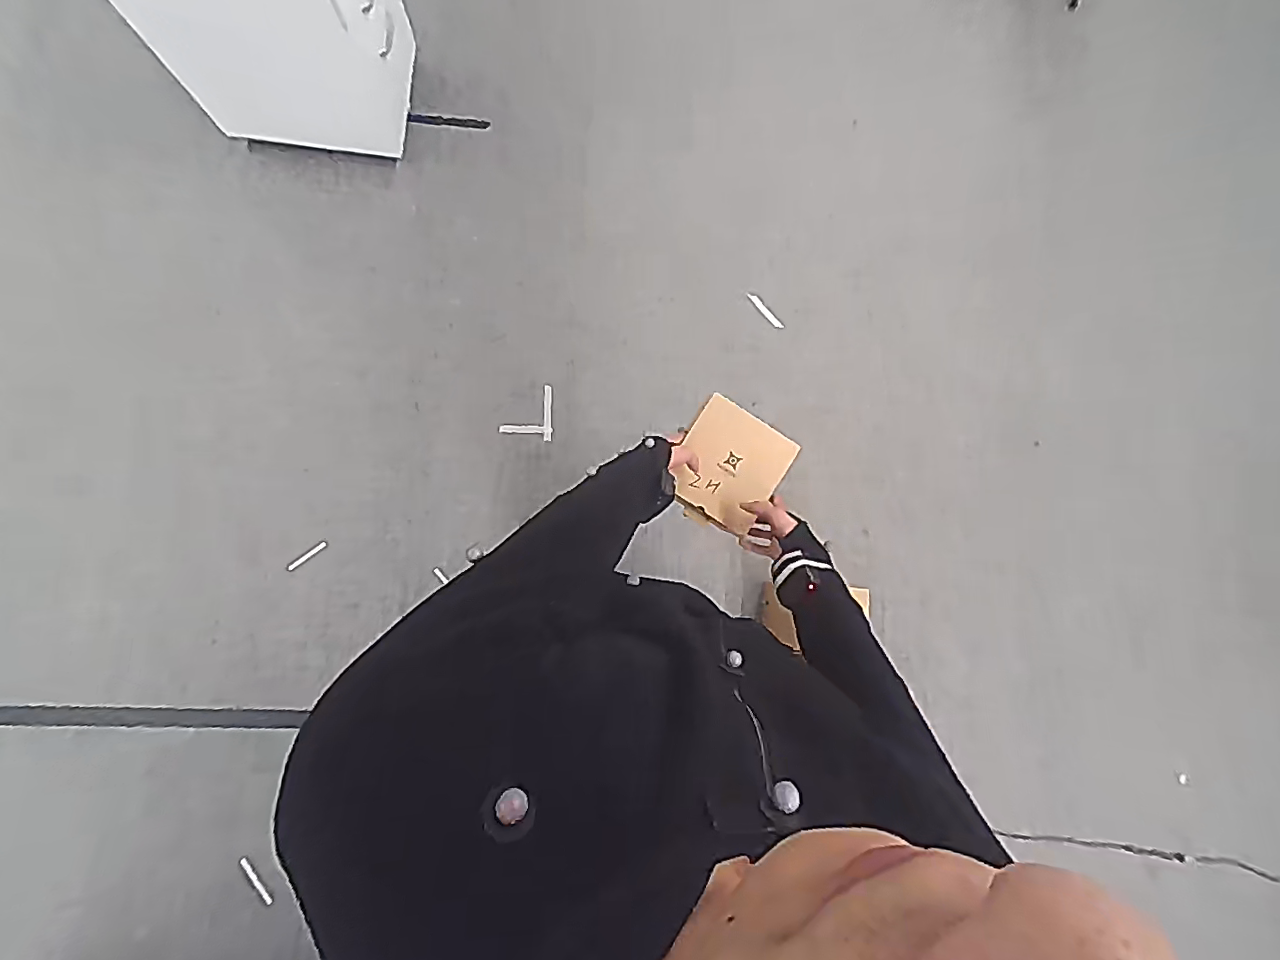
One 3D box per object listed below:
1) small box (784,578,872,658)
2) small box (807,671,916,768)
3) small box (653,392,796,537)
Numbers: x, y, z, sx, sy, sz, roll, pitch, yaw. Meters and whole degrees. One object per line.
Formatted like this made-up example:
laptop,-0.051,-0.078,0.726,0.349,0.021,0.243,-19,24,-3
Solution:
small box,0.493,0.360,1.438,0.168,0.176,0.179,8,81,-6
small box,0.508,0.547,1.255,0.179,0.176,0.168,2,83,-7
small box,0.131,-0.024,0.926,0.168,0.176,0.179,32,89,-1
